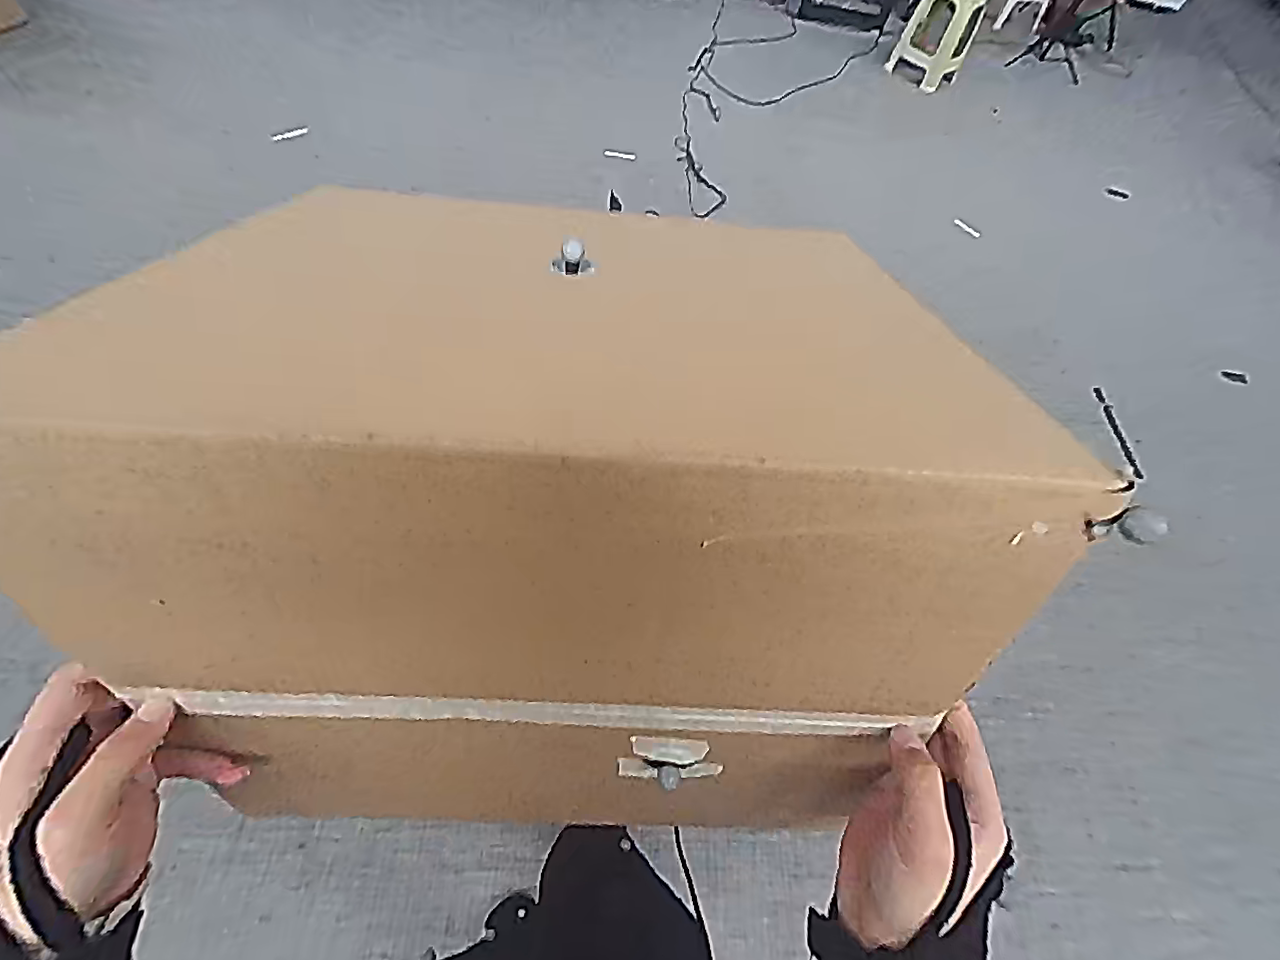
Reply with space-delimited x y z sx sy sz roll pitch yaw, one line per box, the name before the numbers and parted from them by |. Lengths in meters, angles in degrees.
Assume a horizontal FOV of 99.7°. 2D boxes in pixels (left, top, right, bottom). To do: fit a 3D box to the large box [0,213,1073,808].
large box | -0.052 0.013 0.395 0.408 0.320 0.320 3 40 -3
